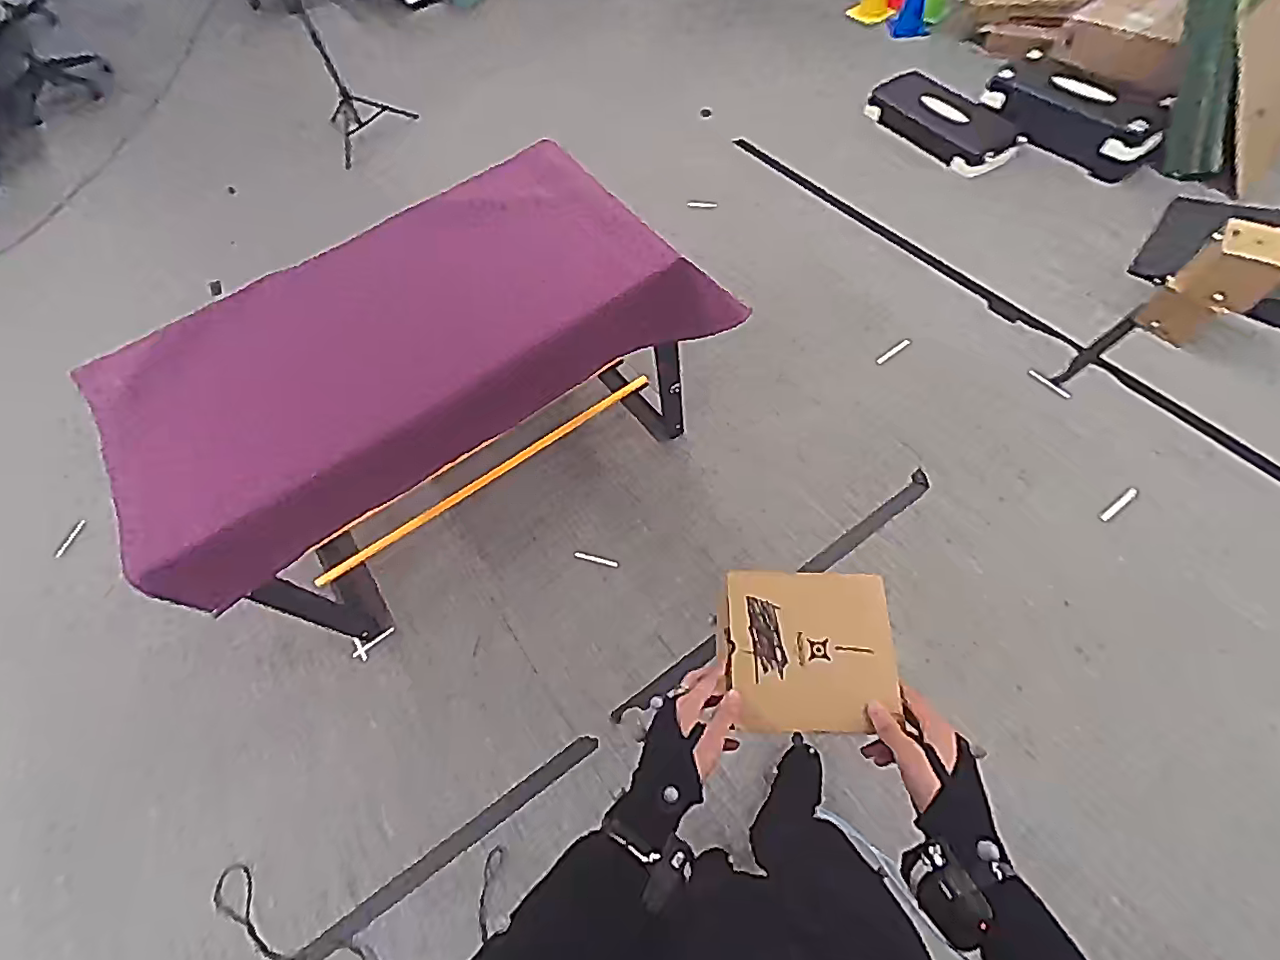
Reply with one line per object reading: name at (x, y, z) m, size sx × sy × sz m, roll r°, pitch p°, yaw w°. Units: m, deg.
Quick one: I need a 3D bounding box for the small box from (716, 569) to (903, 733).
small box at (0.182, 0.210, 0.647) m, size 0.179 × 0.176 × 0.168 m, roll 0°, pitch 66°, yaw 3°
